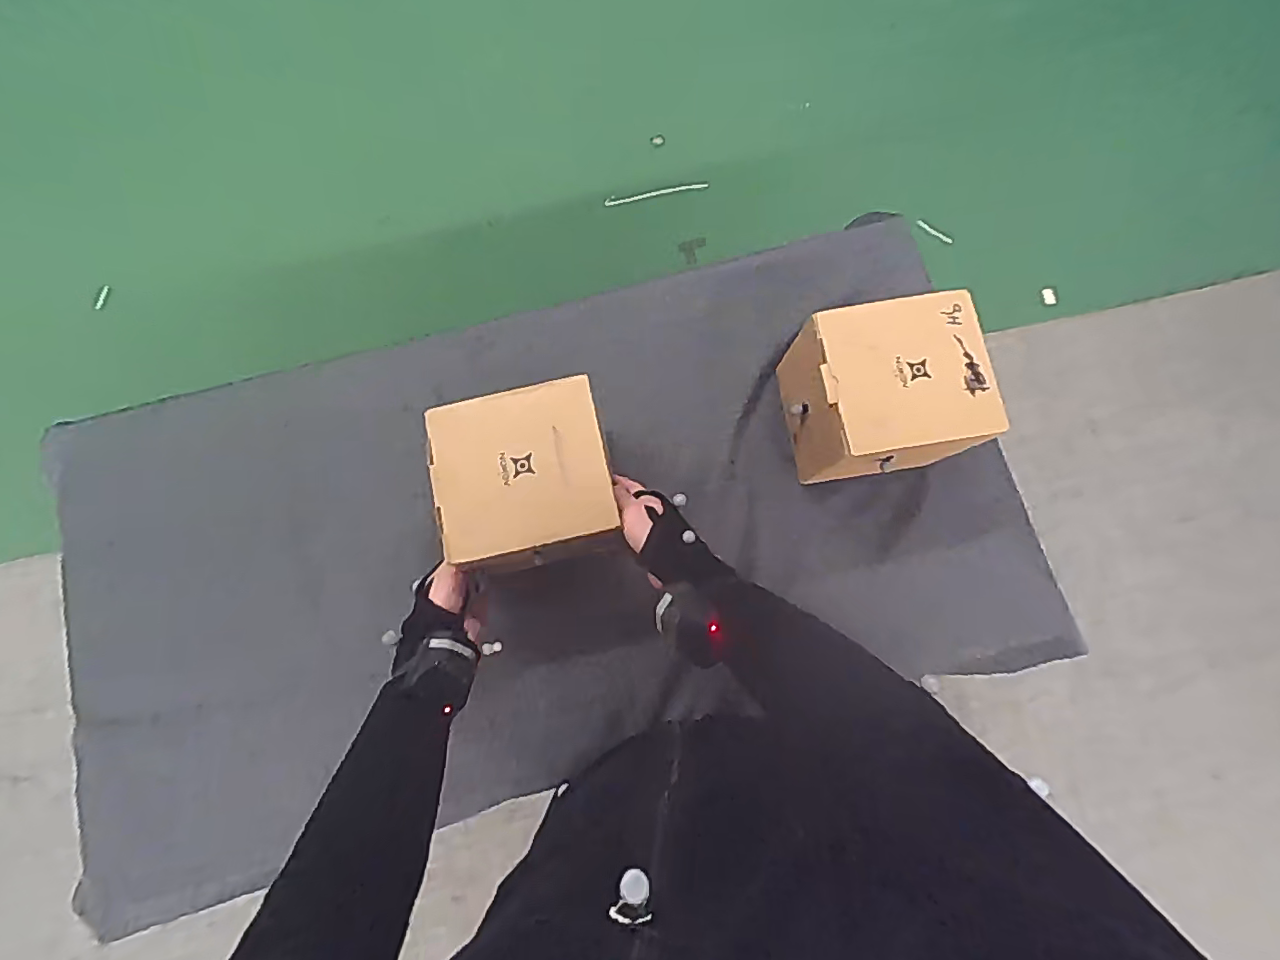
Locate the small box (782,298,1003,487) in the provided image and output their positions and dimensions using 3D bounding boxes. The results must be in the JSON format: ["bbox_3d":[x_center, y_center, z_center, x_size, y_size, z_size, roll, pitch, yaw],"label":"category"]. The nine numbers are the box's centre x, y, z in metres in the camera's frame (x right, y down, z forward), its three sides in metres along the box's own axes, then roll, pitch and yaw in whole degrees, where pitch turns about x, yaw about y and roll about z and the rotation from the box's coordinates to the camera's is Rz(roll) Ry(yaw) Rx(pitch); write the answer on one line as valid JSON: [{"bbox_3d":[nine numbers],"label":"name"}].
[{"bbox_3d":[0.282,-0.093,0.653,0.179,0.176,0.168,-8,80,-2],"label":"small box"}]
